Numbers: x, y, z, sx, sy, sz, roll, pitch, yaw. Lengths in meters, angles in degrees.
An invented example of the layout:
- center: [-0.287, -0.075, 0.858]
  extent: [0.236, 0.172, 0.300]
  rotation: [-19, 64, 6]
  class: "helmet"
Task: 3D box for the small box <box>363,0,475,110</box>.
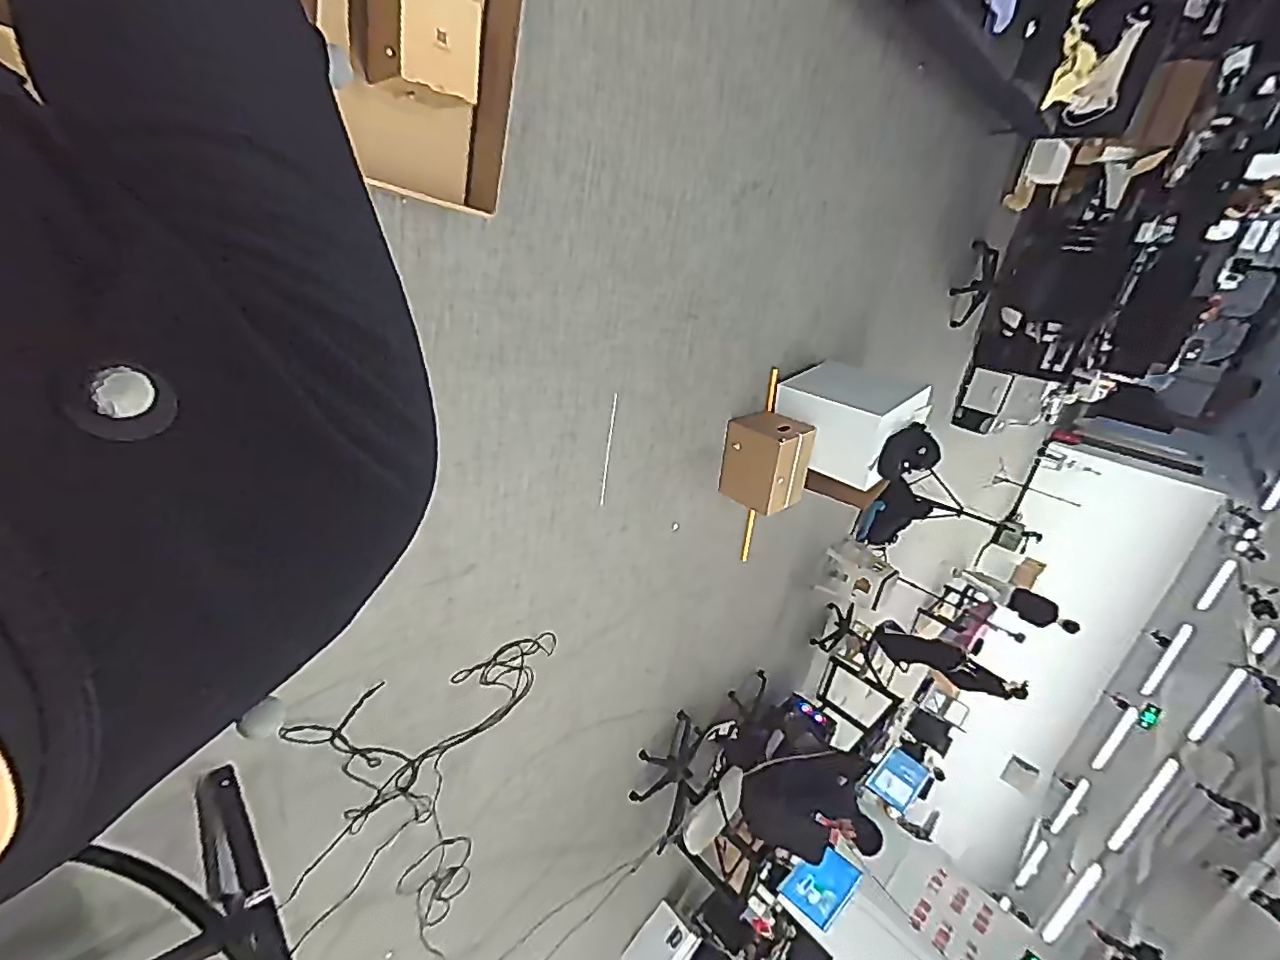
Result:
- center: [-0.461, -0.897, 1.123]
  extent: [0.168, 0.176, 0.179]
  rotation: [-13, 121, -44]
  class: "small box"
